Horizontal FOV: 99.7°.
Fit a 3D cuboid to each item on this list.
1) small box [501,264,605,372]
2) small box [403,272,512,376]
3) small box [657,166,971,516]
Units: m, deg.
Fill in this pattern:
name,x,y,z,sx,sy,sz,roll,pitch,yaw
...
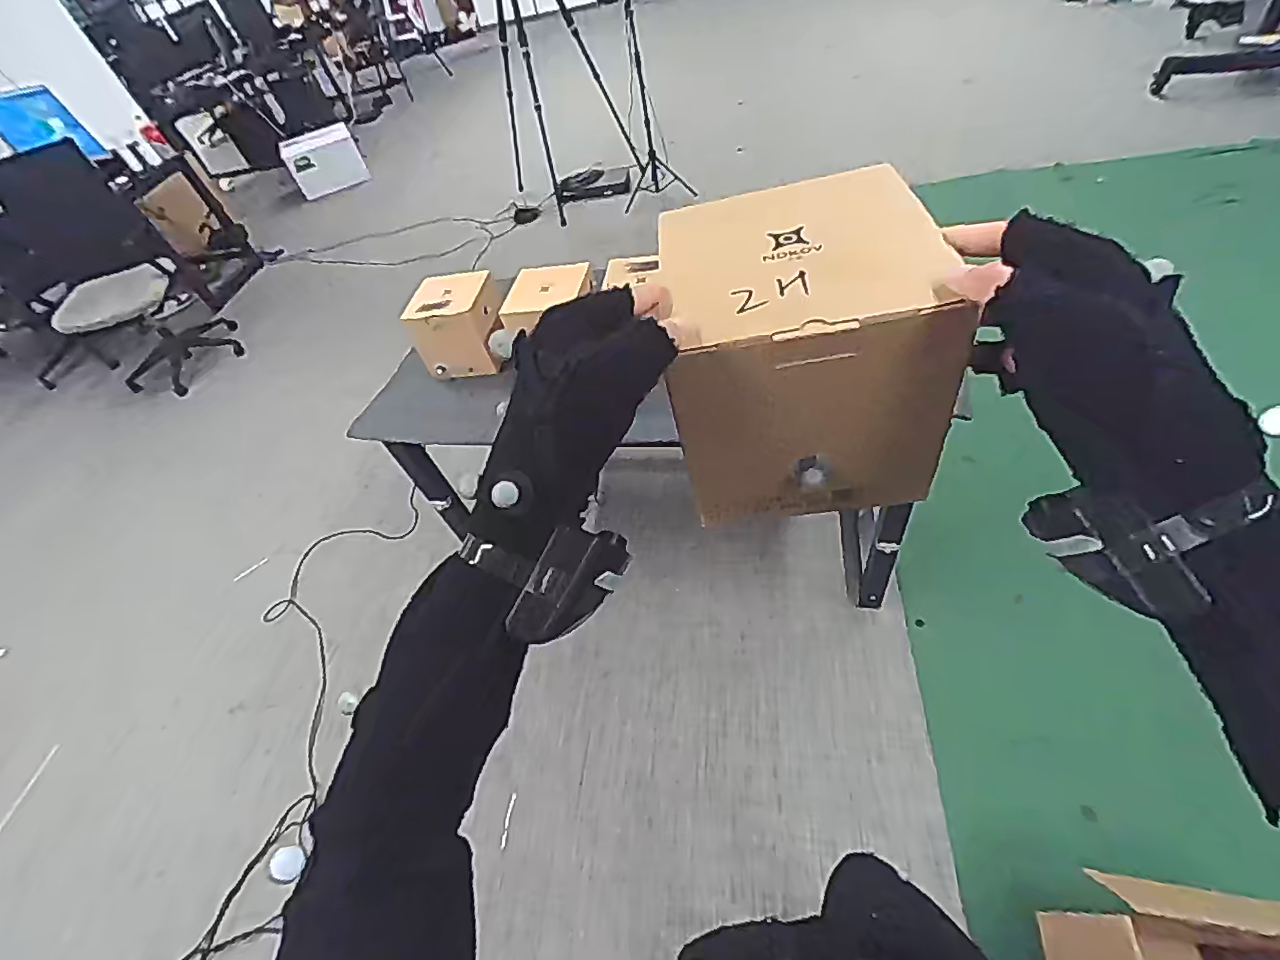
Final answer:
name,x,y,z,sx,sy,sz,roll,pitch,yaw
small box,-0.184,-0.354,1.211,0.168,0.176,0.179,-1,50,13
small box,-0.414,-0.358,1.267,0.168,0.176,0.179,-3,49,11
small box,0.109,-0.096,0.401,0.168,0.176,0.179,-8,49,11
